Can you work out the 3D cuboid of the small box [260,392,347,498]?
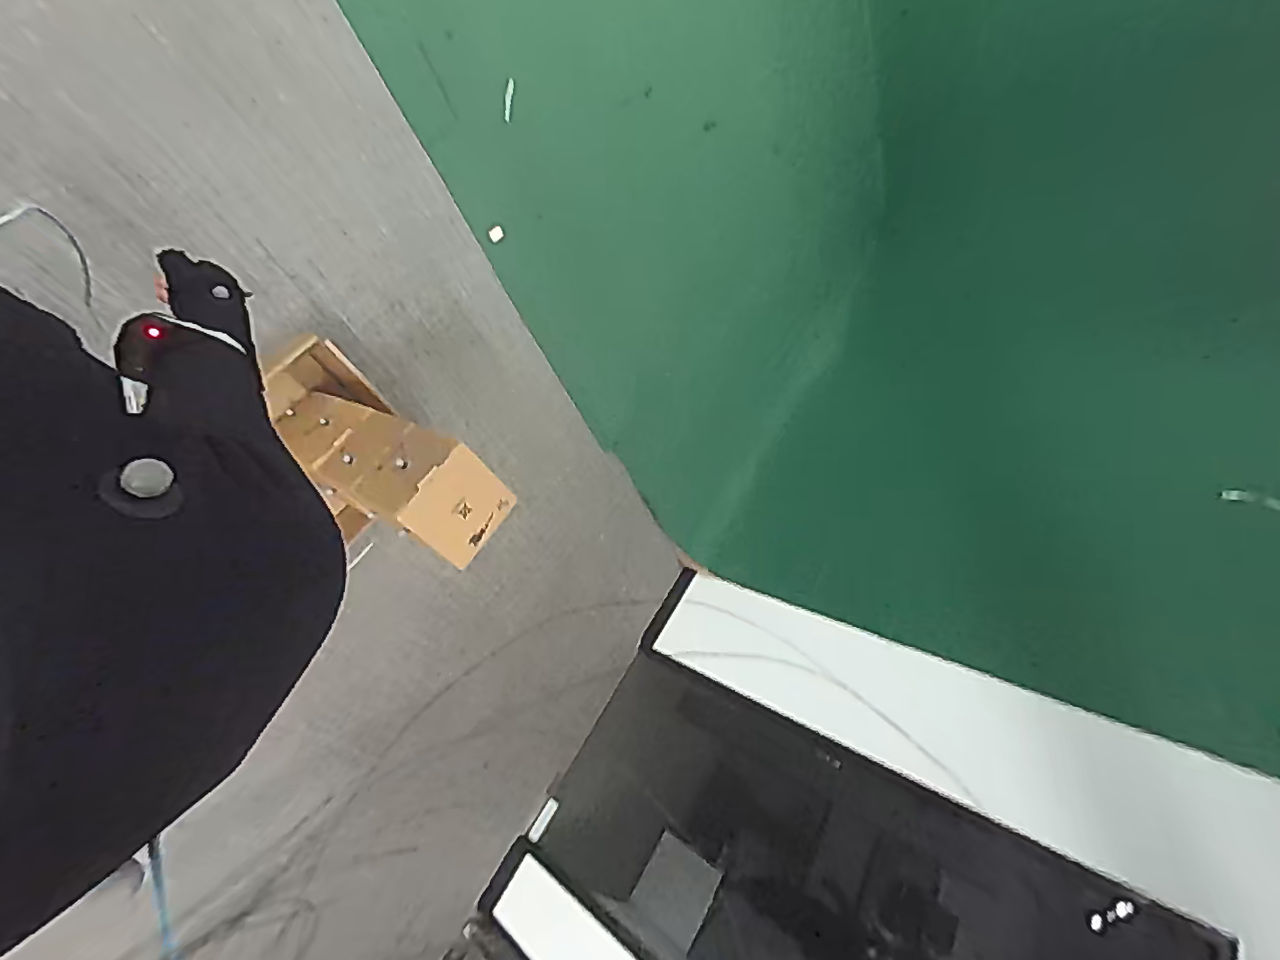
[{"bbox_3d":[-0.743,-0.088,1.279,0.168,0.176,0.179,-53,138,-24],"label":"small box"}]

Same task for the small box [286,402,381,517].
[{"bbox_3d":[-0.619,-0.050,1.180,0.168,0.176,0.179,-54,138,-23],"label":"small box"}]

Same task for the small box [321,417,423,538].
[{"bbox_3d":[-0.493,-0.010,1.084,0.168,0.176,0.179,-54,138,-21],"label":"small box"}]

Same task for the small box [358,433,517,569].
[{"bbox_3d":[-0.369,0.030,0.985,0.168,0.176,0.179,-54,137,-21],"label":"small box"}]
